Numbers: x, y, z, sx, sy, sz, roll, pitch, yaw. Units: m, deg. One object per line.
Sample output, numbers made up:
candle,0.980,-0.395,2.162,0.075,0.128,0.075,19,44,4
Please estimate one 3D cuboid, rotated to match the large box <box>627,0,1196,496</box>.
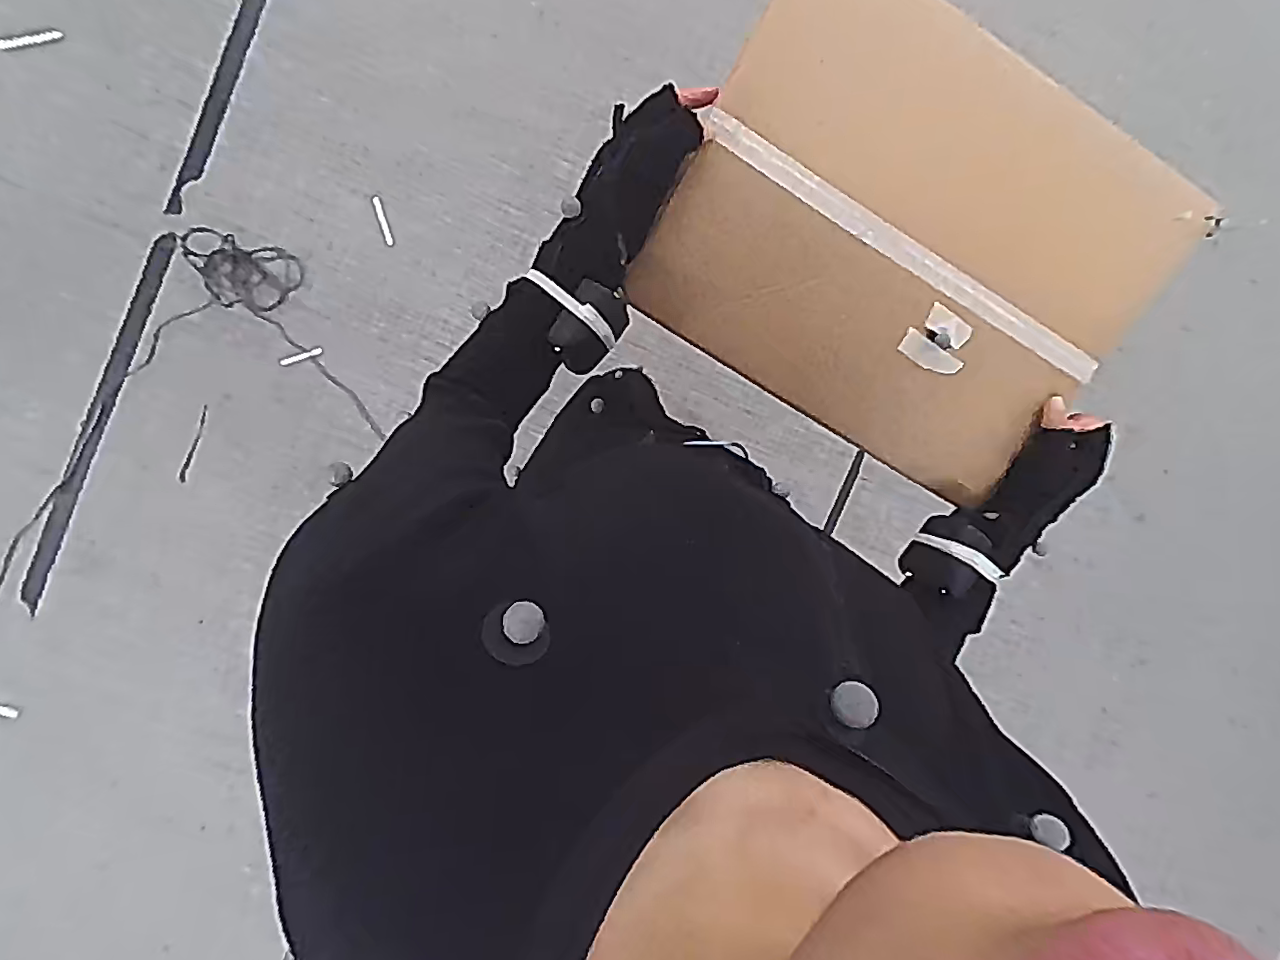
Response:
large box,0.233,-0.244,0.618,0.408,0.320,0.320,30,106,-7
